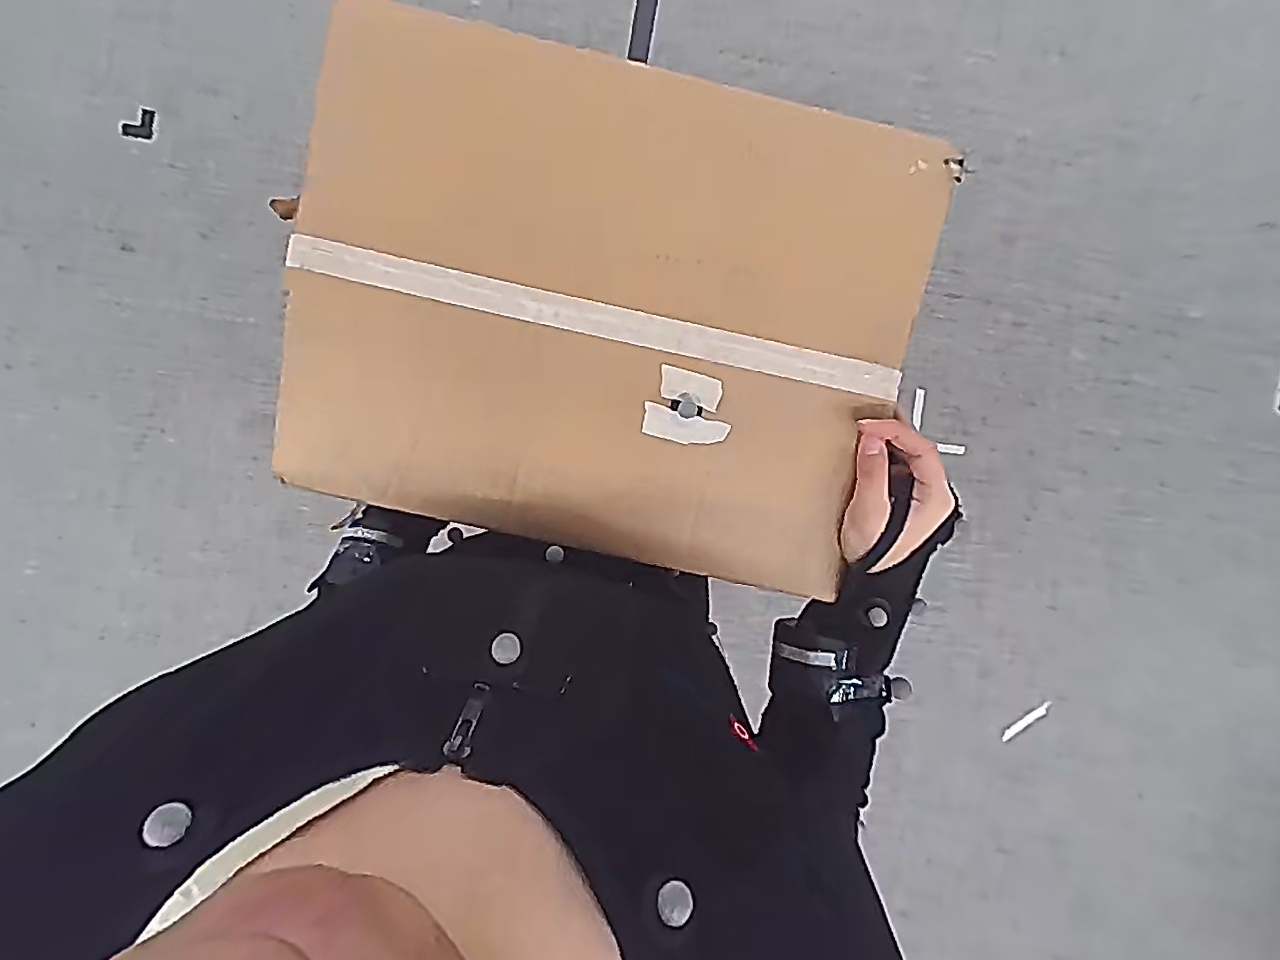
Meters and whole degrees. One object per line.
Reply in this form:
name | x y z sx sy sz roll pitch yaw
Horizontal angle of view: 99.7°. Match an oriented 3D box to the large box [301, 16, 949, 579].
large box | -0.021 -0.130 0.515 0.408 0.320 0.320 12 99 -3
